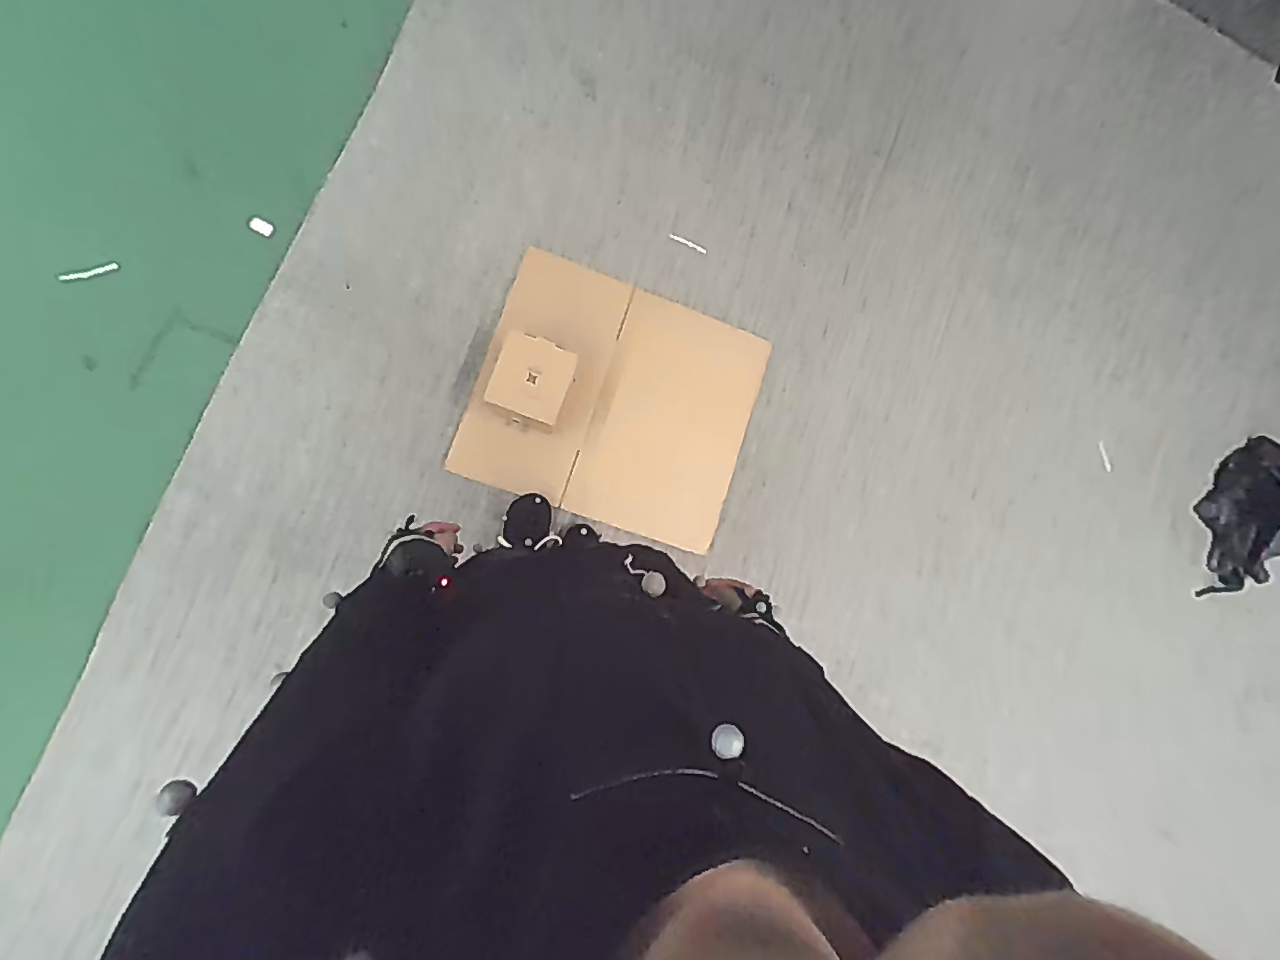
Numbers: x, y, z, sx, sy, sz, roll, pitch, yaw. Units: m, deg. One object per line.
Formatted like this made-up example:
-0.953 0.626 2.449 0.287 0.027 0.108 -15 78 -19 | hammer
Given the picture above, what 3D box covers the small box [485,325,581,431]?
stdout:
-0.247 -0.228 1.261 0.168 0.176 0.179 20 85 -7 | small box
